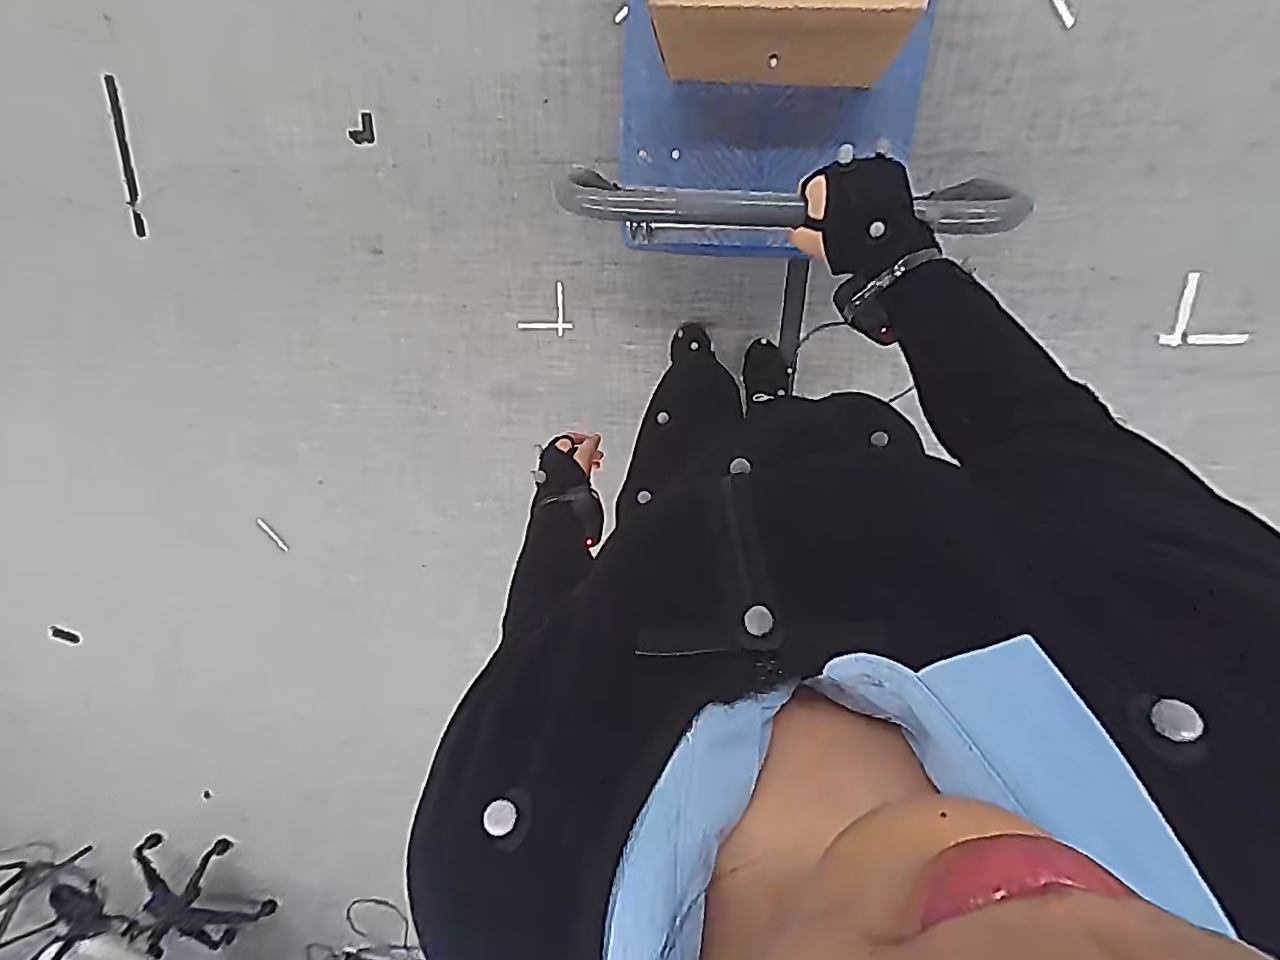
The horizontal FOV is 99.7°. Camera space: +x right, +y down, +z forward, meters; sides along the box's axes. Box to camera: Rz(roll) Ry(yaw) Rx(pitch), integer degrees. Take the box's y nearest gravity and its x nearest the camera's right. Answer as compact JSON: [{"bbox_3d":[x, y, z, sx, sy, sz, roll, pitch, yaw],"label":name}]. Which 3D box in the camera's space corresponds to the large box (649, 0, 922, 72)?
[{"bbox_3d":[0.240,-0.886,0.860,0.408,0.320,0.320,7,109,9],"label":"large box"}]
